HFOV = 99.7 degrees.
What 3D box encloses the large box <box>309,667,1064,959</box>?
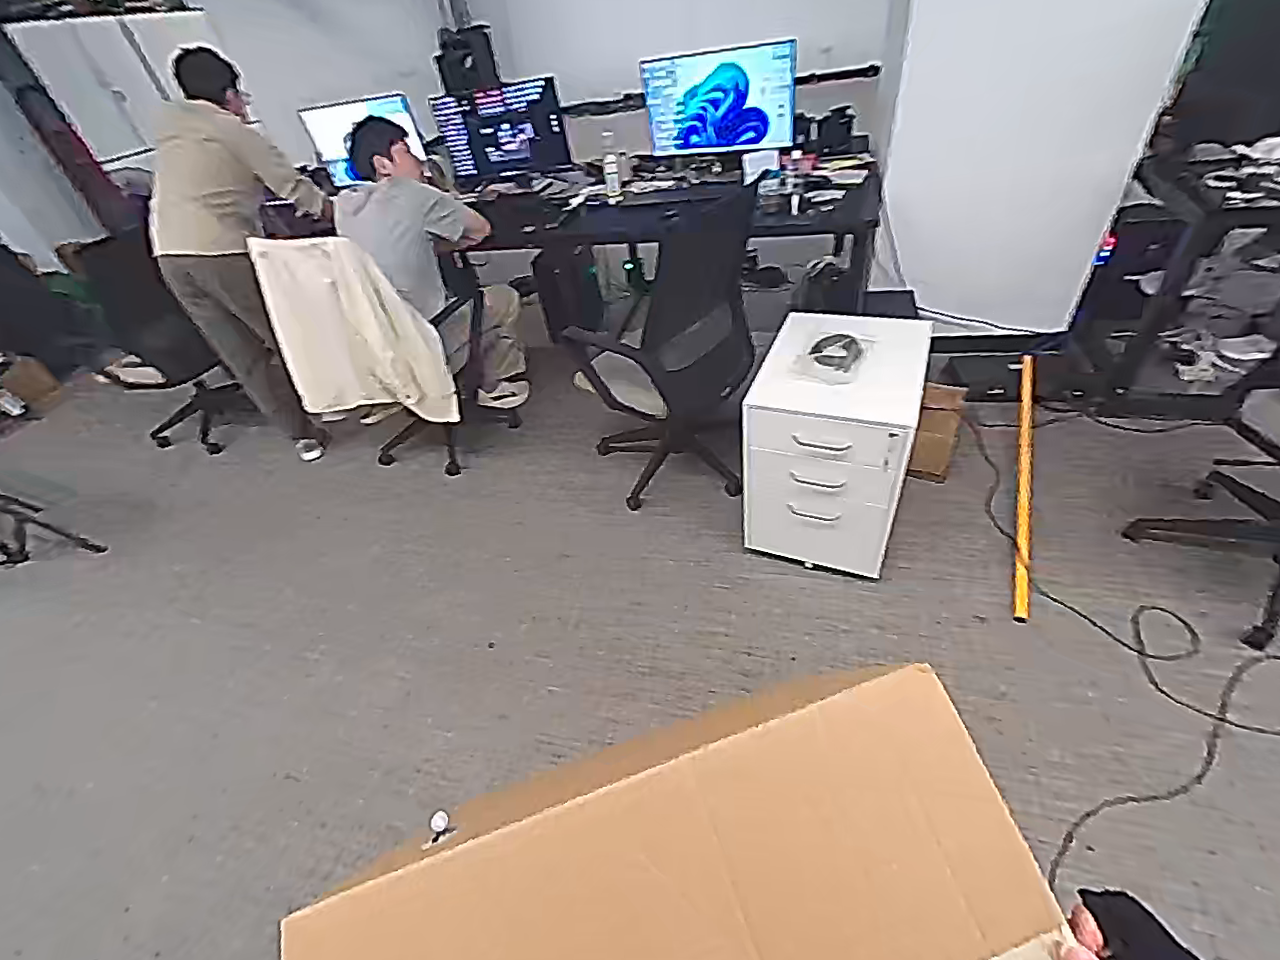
[{"bbox_3d":[0.047,0.377,0.418,0.408,0.320,0.320,-19,70,-7],"label":"large box"}]
